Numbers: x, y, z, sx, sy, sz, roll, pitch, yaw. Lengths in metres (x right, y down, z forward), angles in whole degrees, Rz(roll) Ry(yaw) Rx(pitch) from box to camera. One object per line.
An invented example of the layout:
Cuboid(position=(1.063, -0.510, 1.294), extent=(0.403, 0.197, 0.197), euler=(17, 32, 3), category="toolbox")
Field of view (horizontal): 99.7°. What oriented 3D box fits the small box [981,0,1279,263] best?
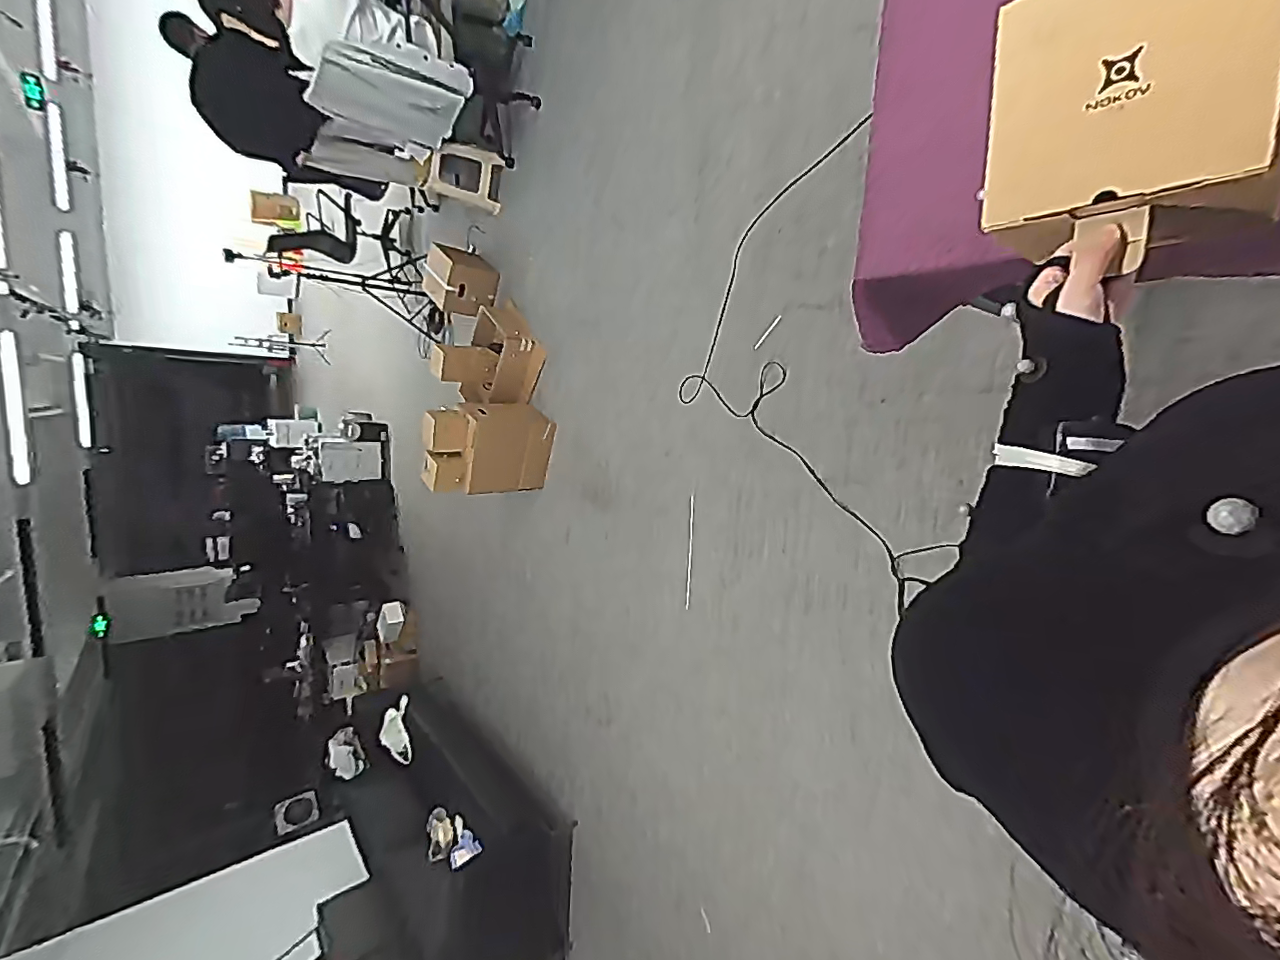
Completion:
Cuboid(position=(0.419, -0.303, 0.462), extent=(0.168, 0.176, 0.179), euler=(9, 102, 49), category="small box")
